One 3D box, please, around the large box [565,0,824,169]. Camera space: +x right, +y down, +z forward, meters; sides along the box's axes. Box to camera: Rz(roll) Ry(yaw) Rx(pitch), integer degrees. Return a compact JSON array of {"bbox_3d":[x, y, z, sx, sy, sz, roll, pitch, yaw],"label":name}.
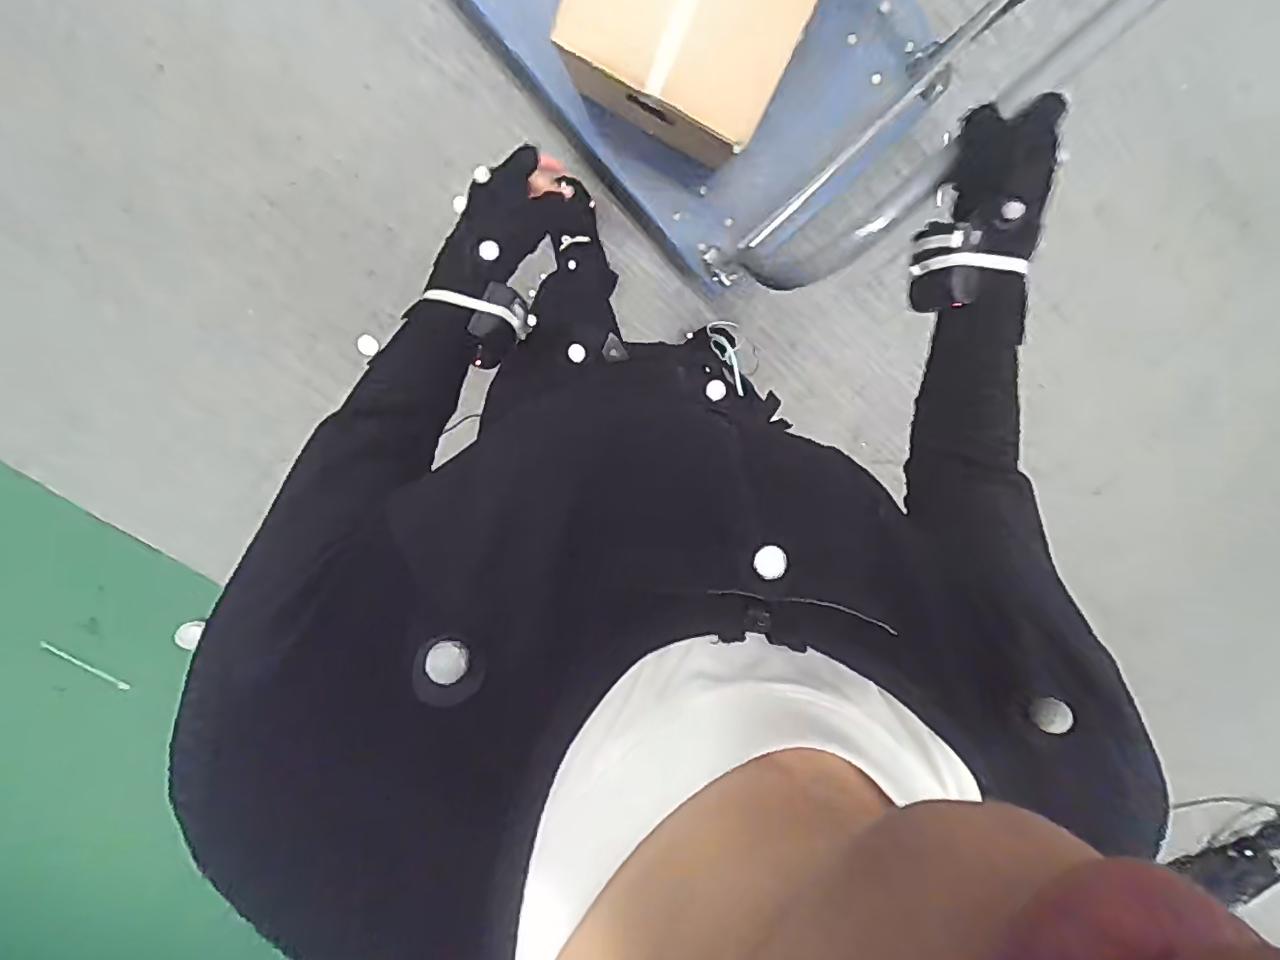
[{"bbox_3d":[0.112,-0.774,0.844,0.320,0.320,0.408,23,114,-8],"label":"large box"}]
